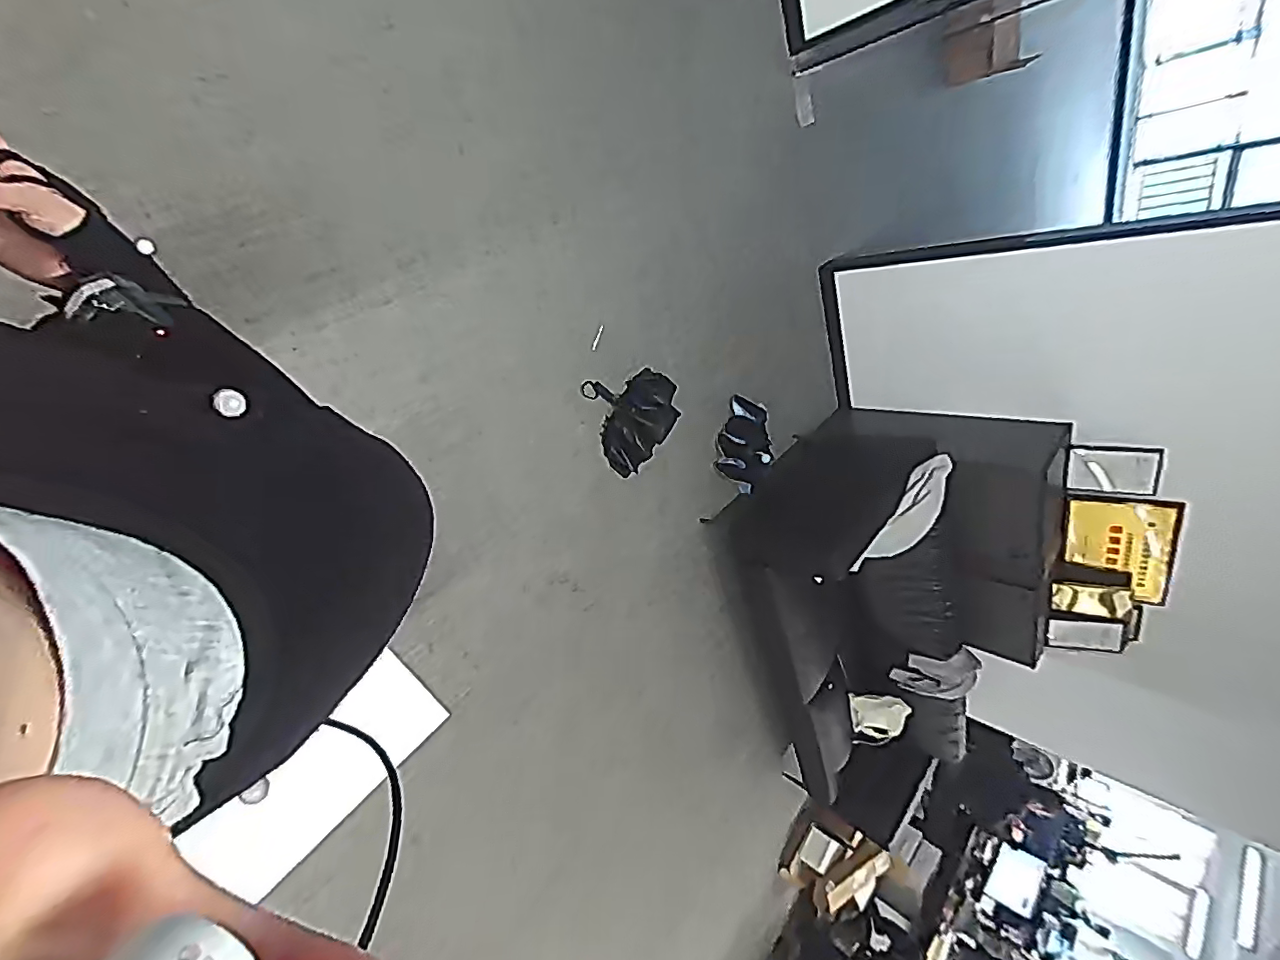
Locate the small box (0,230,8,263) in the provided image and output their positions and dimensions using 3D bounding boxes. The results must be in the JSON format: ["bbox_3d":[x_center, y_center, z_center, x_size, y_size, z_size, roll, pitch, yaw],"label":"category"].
[{"bbox_3d":[-0.555,-0.237,0.336,0.168,0.176,0.179,-21,110,-40],"label":"small box"}]
